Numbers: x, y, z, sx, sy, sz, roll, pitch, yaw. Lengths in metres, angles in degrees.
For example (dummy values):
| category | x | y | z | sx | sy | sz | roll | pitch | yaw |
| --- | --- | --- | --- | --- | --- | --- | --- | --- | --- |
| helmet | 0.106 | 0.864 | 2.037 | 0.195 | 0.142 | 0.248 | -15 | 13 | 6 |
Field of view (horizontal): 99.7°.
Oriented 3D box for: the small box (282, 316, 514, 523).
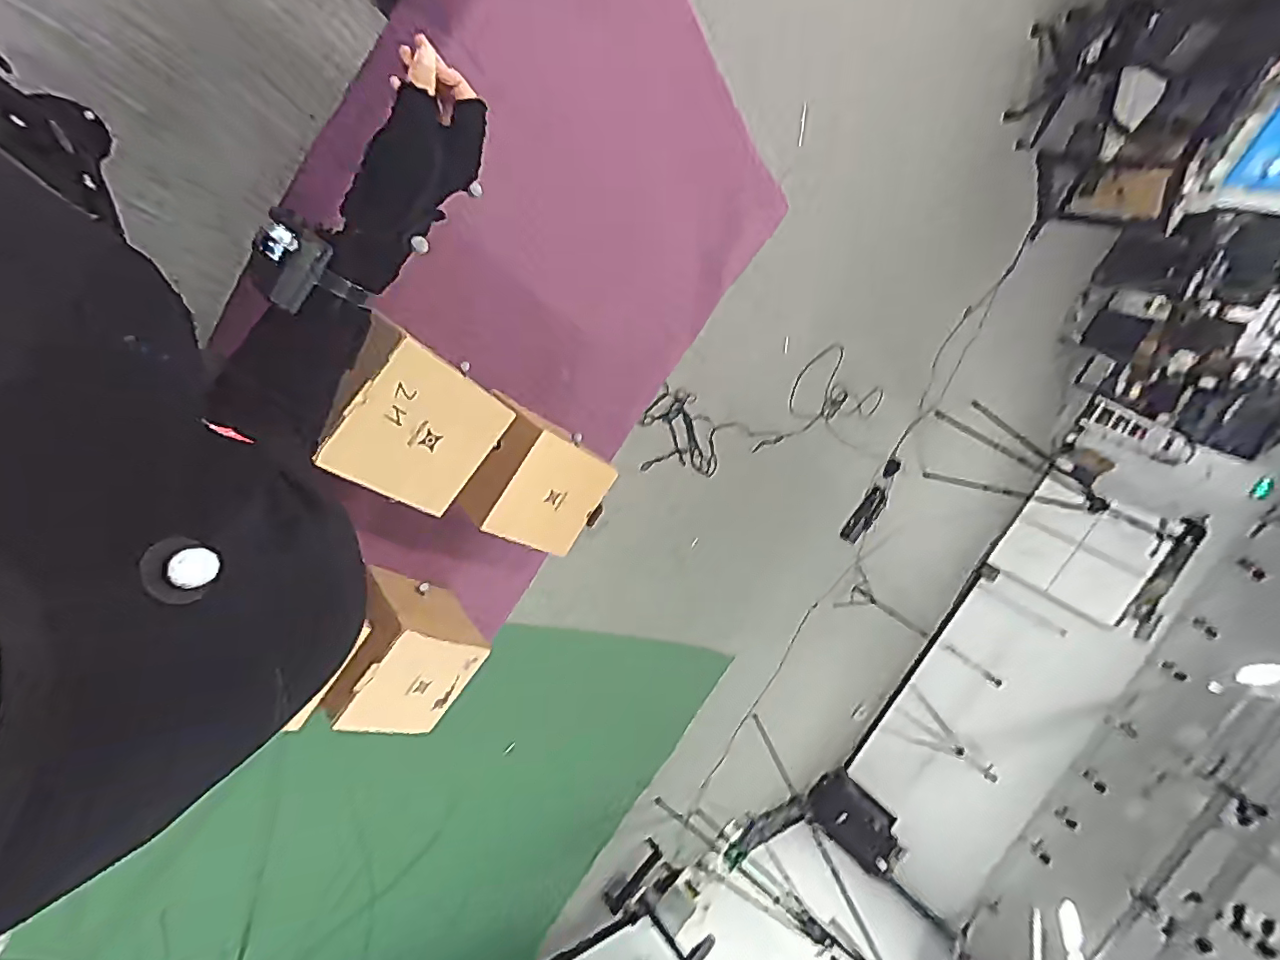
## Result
| category | x | y | z | sx | sy | sz | roll | pitch | yaw |
| --- | --- | --- | --- | --- | --- | --- | --- | --- | --- |
| small box | -0.300 | -0.078 | 0.676 | 0.168 | 0.176 | 0.179 | -54 | 141 | -2 |

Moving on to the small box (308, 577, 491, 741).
| category | x | y | z | sx | sy | sz | roll | pitch | yaw |
| --- | --- | --- | --- | --- | --- | --- | --- | --- | --- |
| small box | -0.378 | 0.276 | 0.845 | 0.168 | 0.176 | 0.179 | -52 | 140 | -3 |

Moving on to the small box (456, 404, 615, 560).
| category | x | y | z | sx | sy | sz | roll | pitch | yaw |
| --- | --- | --- | --- | --- | --- | --- | --- | --- | --- |
| small box | -0.181 | -0.001 | 0.855 | 0.179 | 0.176 | 0.168 | 30 | 94 | -51 |
